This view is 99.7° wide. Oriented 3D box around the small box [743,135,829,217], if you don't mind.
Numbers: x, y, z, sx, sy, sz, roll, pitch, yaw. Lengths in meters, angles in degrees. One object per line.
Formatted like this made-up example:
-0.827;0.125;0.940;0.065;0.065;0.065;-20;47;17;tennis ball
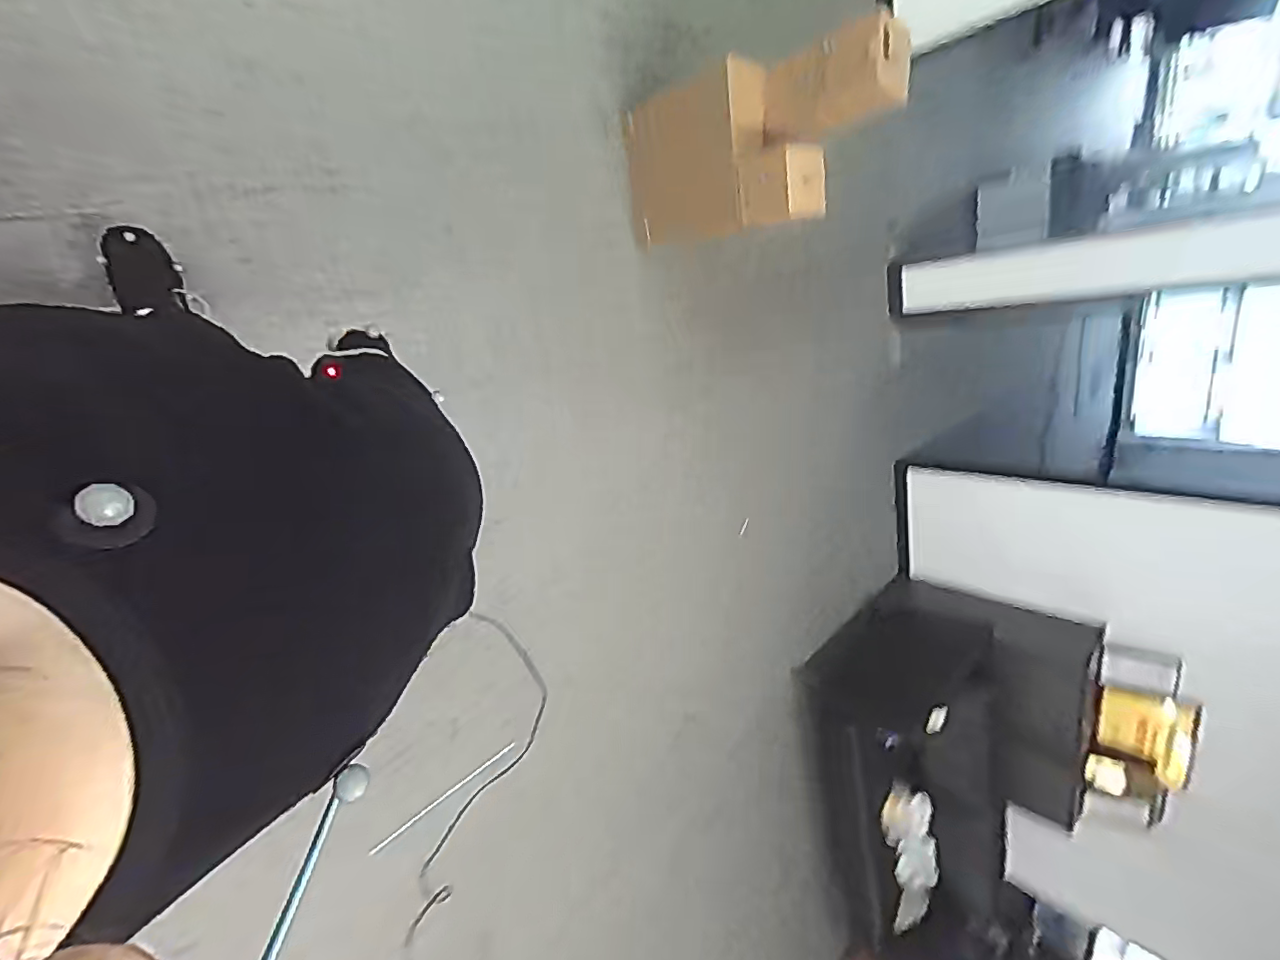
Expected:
0.399;-0.835;1.496;0.179;0.176;0.168;-24;114;-35;small box

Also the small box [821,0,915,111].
0.580;-1.080;1.385;0.179;0.176;0.168;-14;107;-40;small box

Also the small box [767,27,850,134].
0.470;-1.100;1.507;0.168;0.176;0.179;-15;109;-38;small box
